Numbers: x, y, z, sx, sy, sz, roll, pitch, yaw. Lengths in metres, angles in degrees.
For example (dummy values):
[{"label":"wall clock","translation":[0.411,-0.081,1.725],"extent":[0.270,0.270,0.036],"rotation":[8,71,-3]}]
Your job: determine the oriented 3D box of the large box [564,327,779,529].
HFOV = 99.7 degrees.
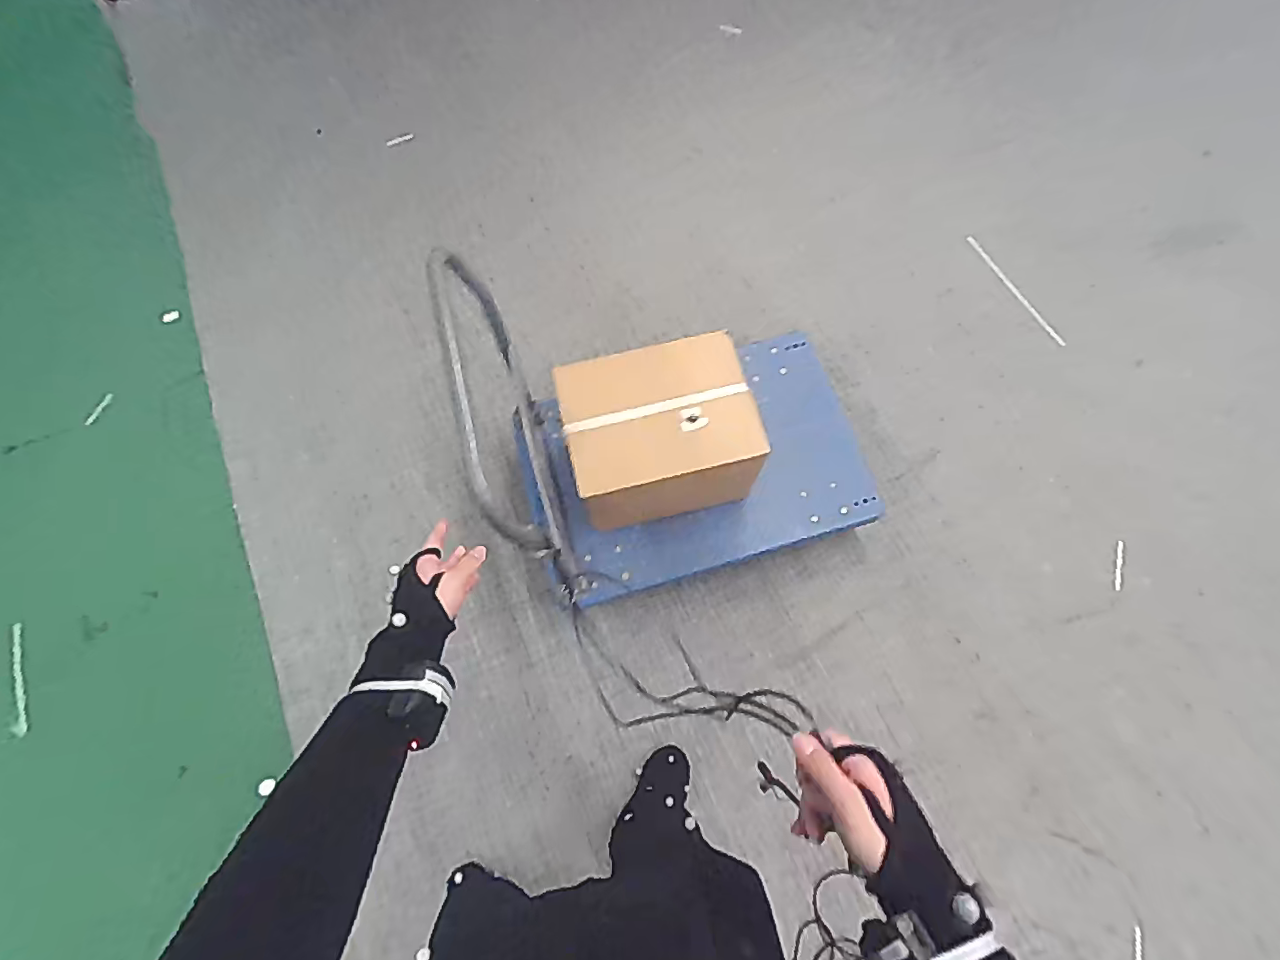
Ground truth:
[{"label":"large box","translation":[0.062,-0.107,1.280],"extent":[0.408,0.320,0.320],"rotation":[-13,72,-3]}]
